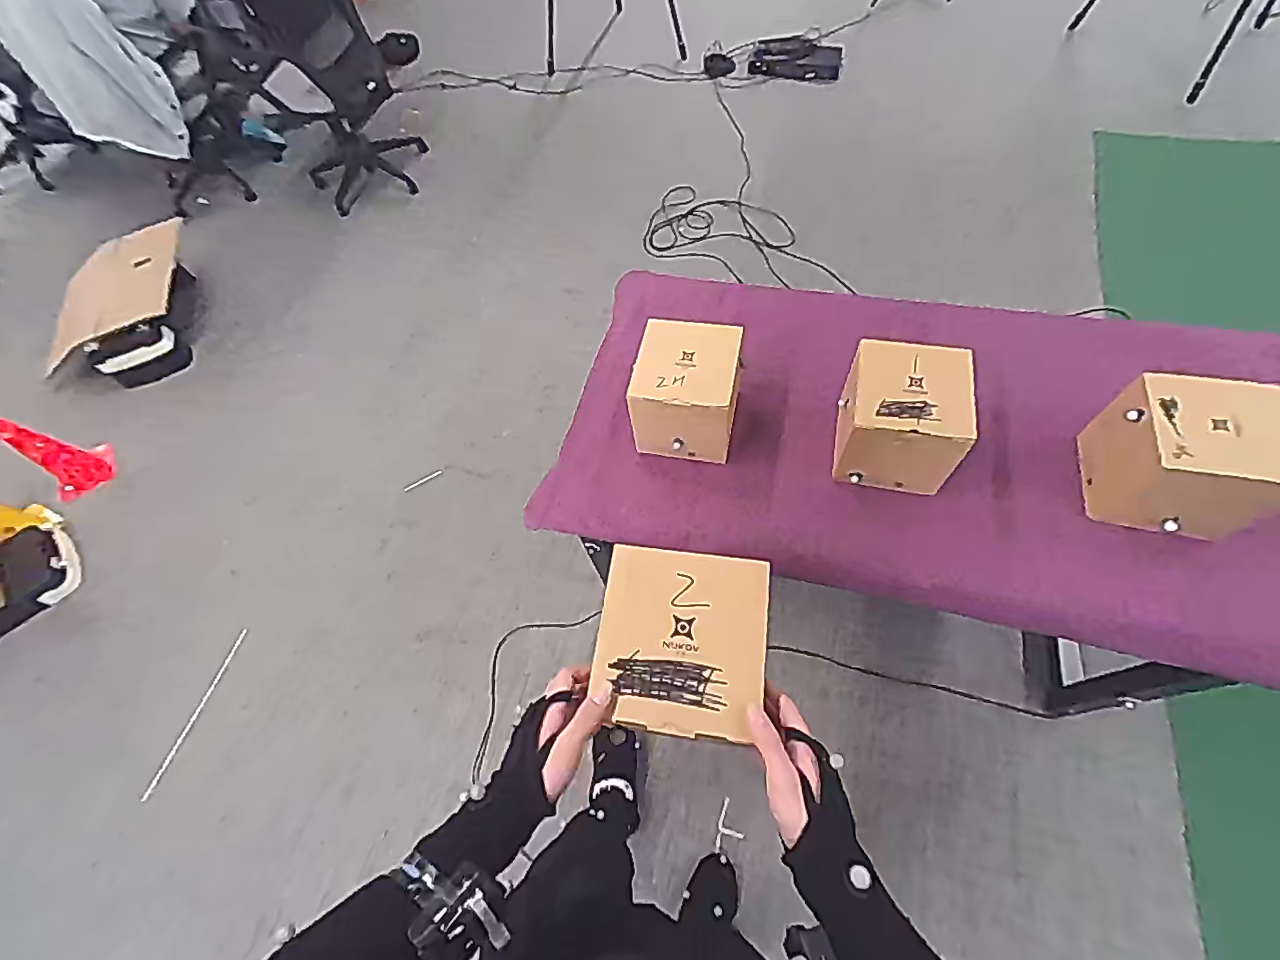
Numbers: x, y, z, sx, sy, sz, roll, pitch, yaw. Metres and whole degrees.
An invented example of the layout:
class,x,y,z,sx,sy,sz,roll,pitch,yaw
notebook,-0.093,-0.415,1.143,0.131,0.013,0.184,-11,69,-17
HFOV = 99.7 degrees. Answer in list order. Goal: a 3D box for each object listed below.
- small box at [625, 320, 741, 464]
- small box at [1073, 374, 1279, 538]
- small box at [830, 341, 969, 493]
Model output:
class,x,y,z,sx,sy,sz,roll,pitch,yaw
small box,0.080,-0.153,0.954,0.168,0.176,0.179,8,62,12
small box,0.790,-0.029,0.797,0.179,0.176,0.168,11,62,13
small box,0.415,-0.098,0.883,0.168,0.176,0.179,10,61,12
